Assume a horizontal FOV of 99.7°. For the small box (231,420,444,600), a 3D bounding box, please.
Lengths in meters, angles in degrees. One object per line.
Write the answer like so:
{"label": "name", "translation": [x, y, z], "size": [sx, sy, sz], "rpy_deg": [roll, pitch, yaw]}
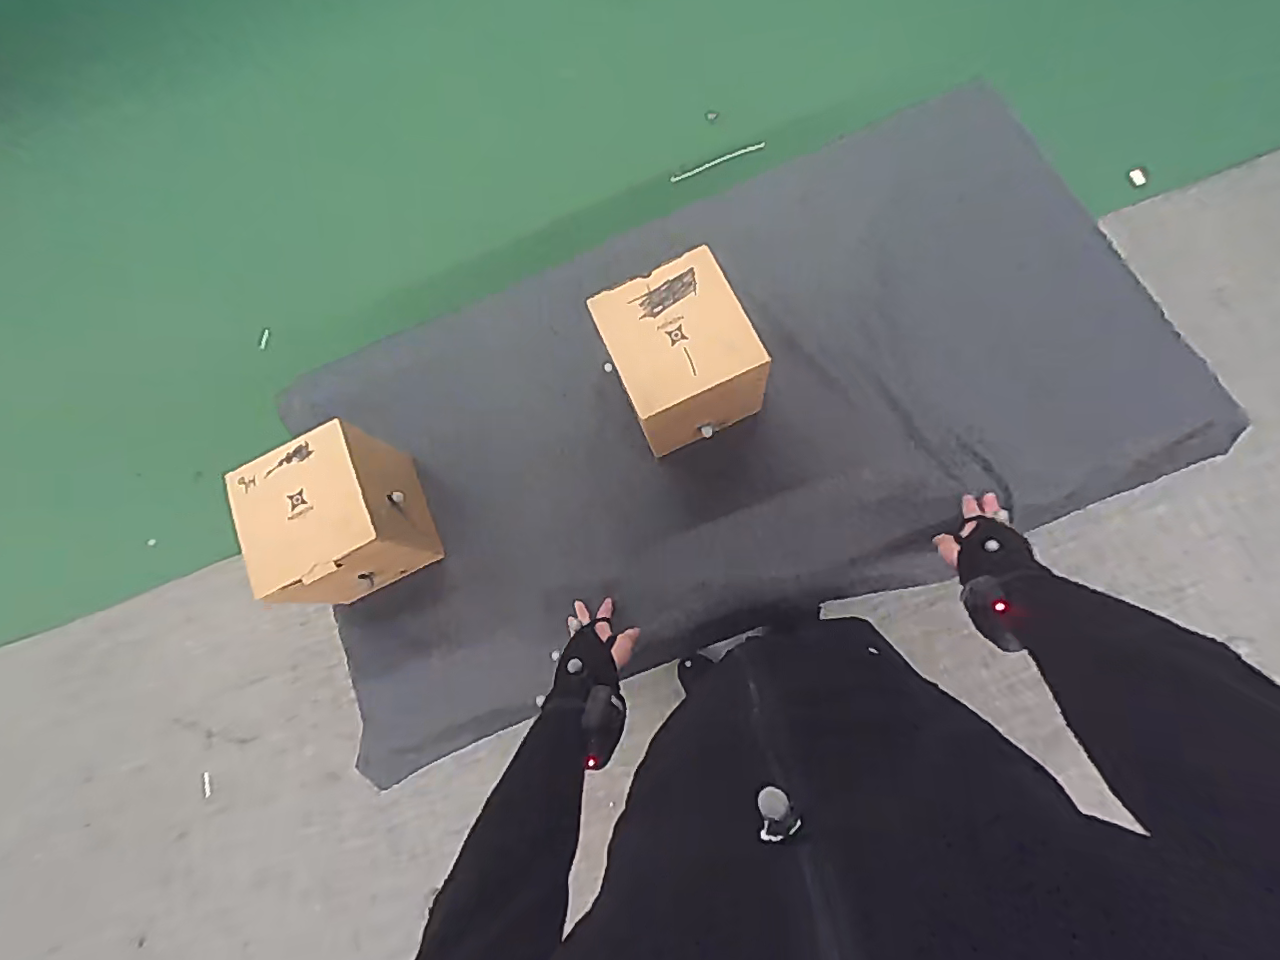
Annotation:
{"label": "small box", "translation": [-0.398, 0.050, 0.738], "size": [0.168, 0.176, 0.179], "rpy_deg": [-27, 75, 1]}

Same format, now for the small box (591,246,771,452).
{"label": "small box", "translation": [0.054, -0.161, 0.716], "size": [0.168, 0.176, 0.179], "rpy_deg": [-25, 75, 3]}
